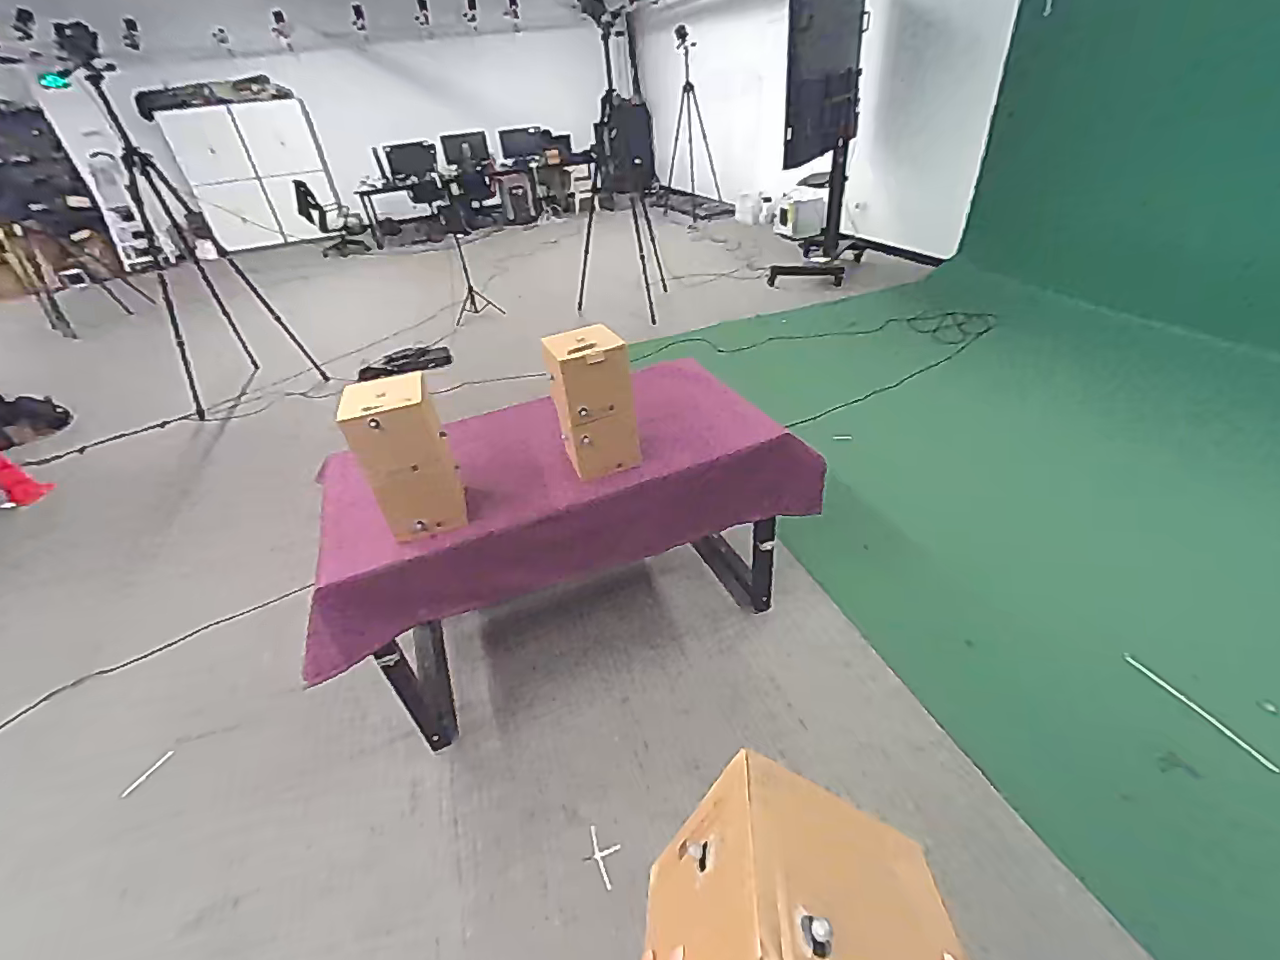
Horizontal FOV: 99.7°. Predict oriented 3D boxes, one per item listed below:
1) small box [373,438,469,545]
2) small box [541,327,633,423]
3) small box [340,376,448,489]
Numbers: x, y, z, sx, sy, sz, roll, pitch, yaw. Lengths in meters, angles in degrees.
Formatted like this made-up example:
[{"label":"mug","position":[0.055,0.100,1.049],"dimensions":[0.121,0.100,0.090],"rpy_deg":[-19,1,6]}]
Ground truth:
[{"label":"small box","position":[-0.516,0.026,1.292],"dimensions":[0.168,0.176,0.179],"rpy_deg":[-16,37,-11]},{"label":"small box","position":[-0.128,-0.253,1.327],"dimensions":[0.168,0.176,0.179],"rpy_deg":[-19,36,-16]},{"label":"small box","position":[-0.533,-0.107,1.196],"dimensions":[0.168,0.176,0.179],"rpy_deg":[-17,36,-10]}]
